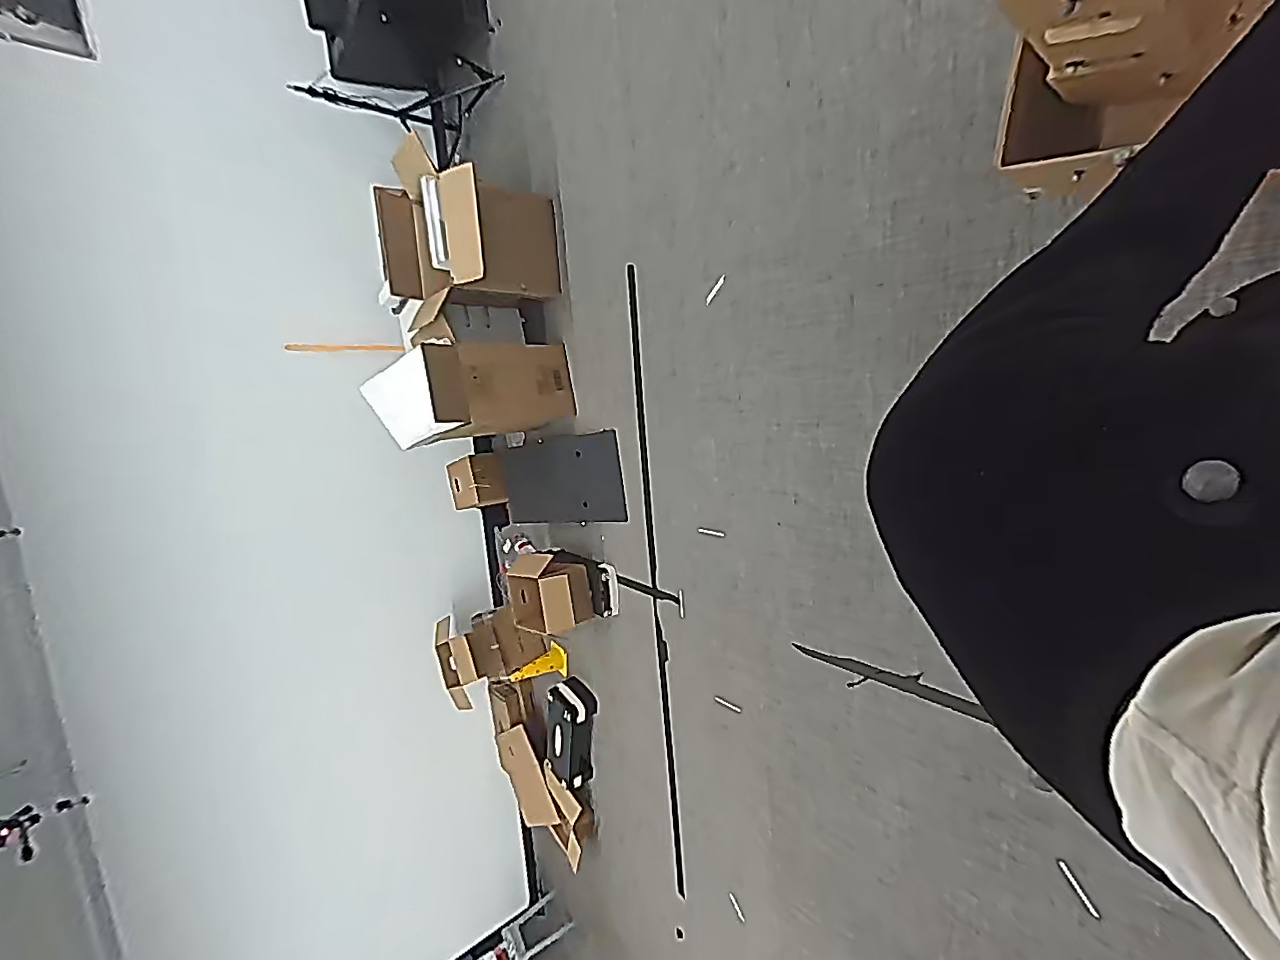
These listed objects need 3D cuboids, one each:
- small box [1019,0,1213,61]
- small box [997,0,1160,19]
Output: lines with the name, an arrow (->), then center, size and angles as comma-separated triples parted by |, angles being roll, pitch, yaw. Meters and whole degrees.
small box -> 0.631, -0.668, 0.689 | 0.168, 0.176, 0.179 | 29, 119, 44
small box -> 0.505, -0.639, 0.587 | 0.168, 0.176, 0.179 | 34, 123, 42
